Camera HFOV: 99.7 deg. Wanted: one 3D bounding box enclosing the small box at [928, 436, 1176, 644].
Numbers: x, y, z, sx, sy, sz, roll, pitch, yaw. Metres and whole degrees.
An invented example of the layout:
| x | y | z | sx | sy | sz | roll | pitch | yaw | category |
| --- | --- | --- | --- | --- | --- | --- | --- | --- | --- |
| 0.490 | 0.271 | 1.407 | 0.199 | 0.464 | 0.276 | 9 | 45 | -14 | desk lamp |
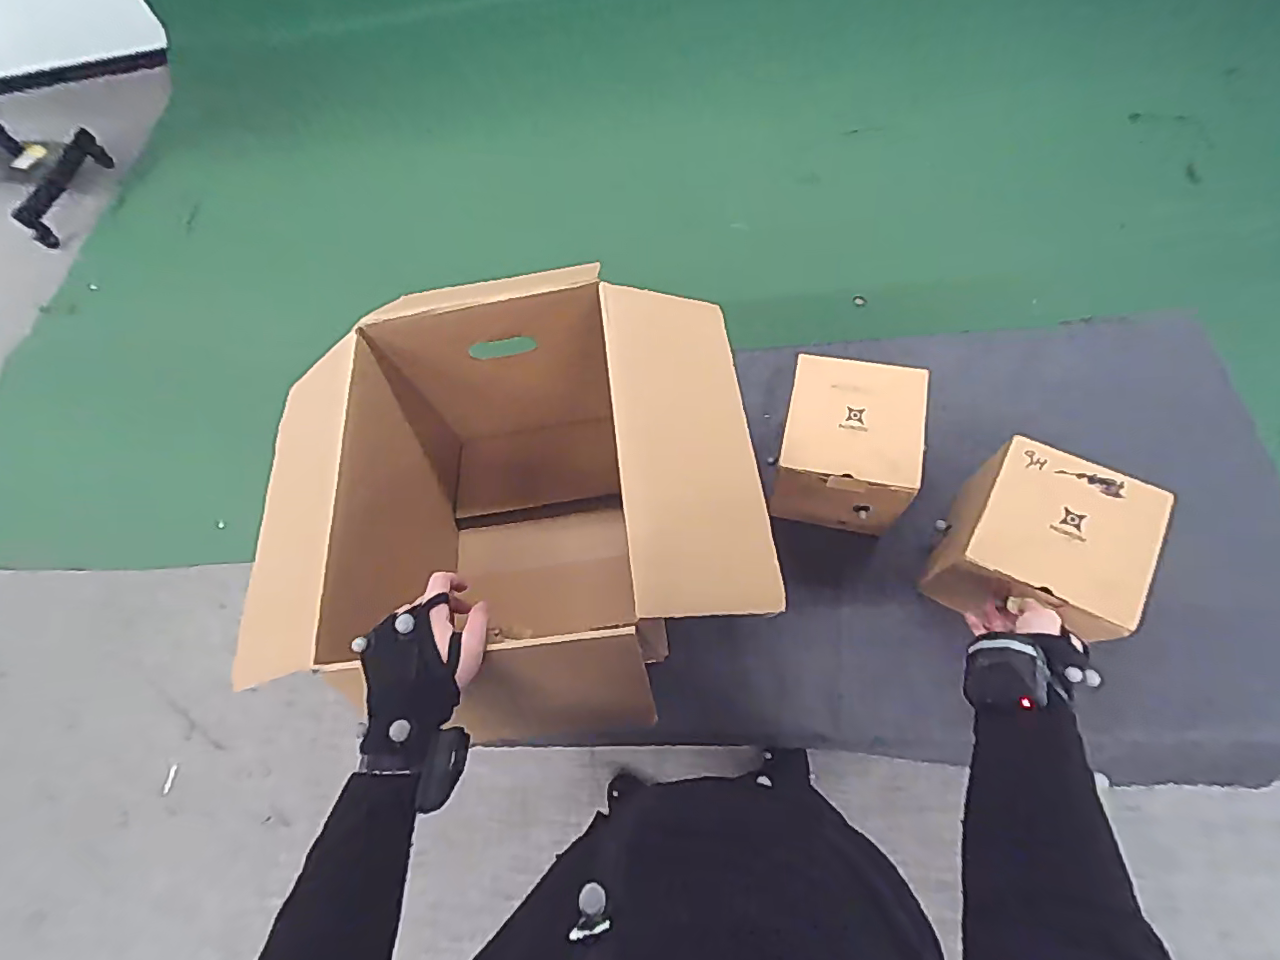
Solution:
| x | y | z | sx | sy | sz | roll | pitch | yaw | category |
| --- | --- | --- | --- | --- | --- | --- | --- | --- | --- |
| 0.487 | 0.083 | 0.670 | 0.168 | 0.176 | 0.179 | 29 | 74 | 19 | small box |
